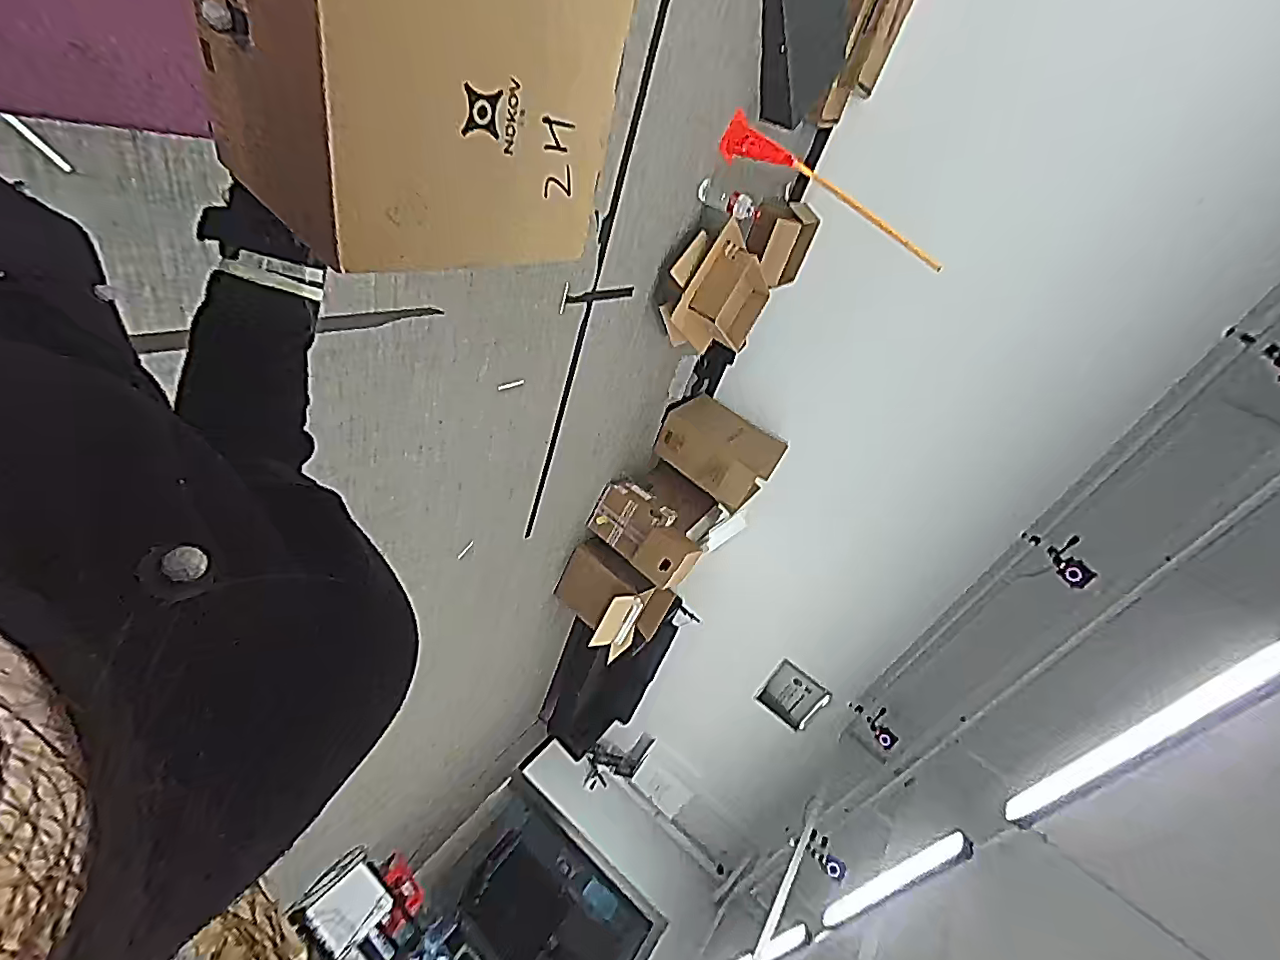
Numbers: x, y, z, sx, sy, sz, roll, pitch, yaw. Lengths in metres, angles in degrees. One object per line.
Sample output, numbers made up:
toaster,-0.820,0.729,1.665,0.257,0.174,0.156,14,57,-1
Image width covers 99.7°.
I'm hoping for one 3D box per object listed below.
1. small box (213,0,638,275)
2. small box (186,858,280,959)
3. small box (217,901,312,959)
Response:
small box,-0.134,-0.243,0.329,0.179,0.176,0.168,-26,148,-43
small box,-1.178,1.247,1.567,0.168,0.176,0.179,-30,150,-52
small box,-1.054,1.340,1.520,0.168,0.176,0.179,-29,151,-51
